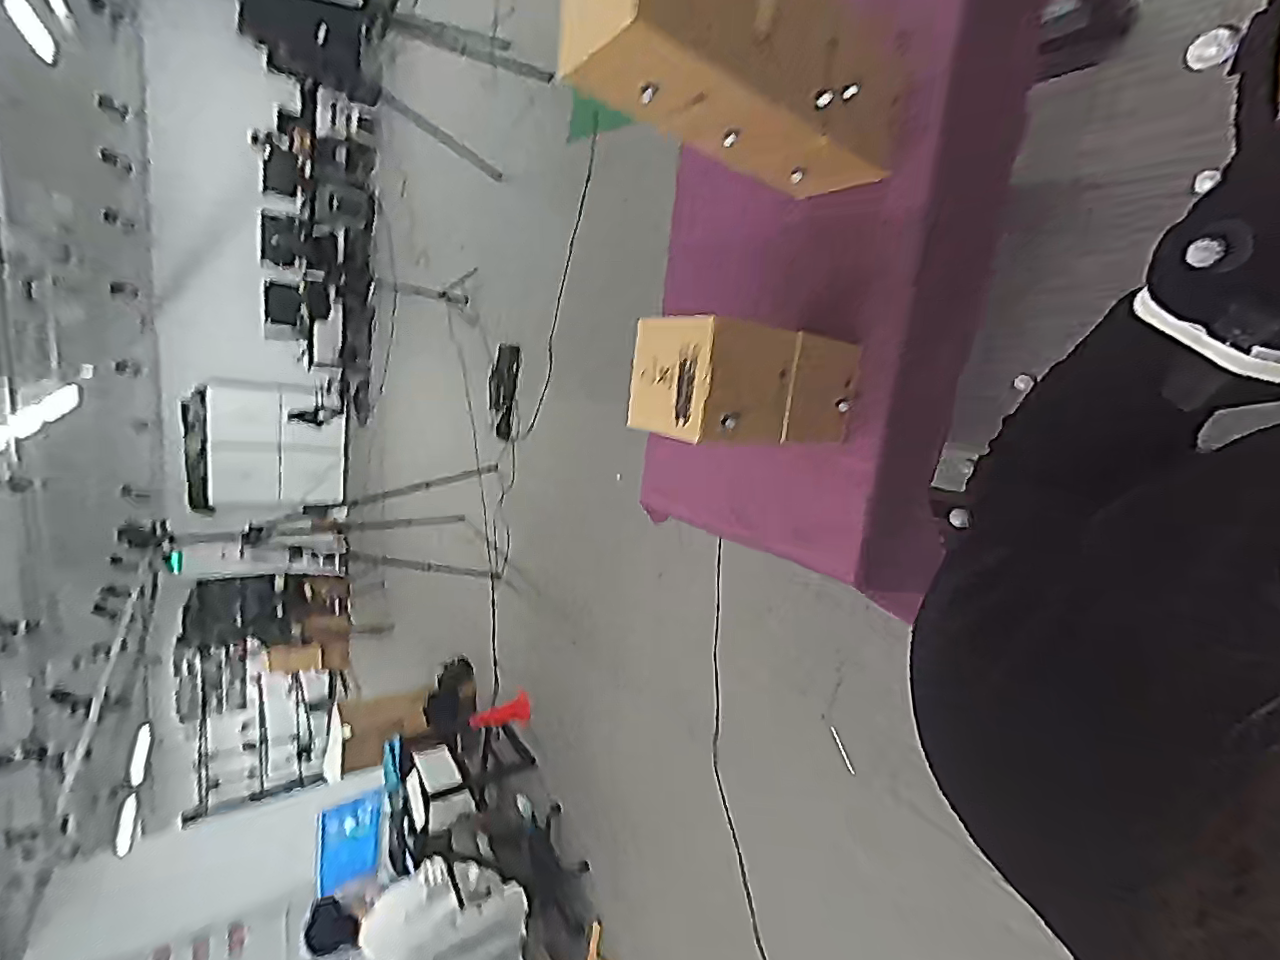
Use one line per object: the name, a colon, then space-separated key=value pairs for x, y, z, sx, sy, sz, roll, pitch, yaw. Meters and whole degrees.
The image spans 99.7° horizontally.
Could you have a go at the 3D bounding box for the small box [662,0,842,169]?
small box: x=0.156 y=-0.567 z=0.757 sx=0.179 sy=0.176 sz=0.168 roll=18 pitch=105 yaw=52

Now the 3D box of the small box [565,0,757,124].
small box: x=0.027 y=-0.565 z=0.654 sx=0.168 sy=0.176 sz=0.179 roll=19 pitch=106 yaw=51

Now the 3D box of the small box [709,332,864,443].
small box: x=0.247 y=-0.156 z=0.924 sx=0.179 sy=0.176 sz=0.168 roll=20 pitch=107 yaw=51

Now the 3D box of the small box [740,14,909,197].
small box: x=0.288 y=-0.568 z=0.855 sx=0.179 sy=0.176 sz=0.168 roll=19 pitch=108 yaw=52
